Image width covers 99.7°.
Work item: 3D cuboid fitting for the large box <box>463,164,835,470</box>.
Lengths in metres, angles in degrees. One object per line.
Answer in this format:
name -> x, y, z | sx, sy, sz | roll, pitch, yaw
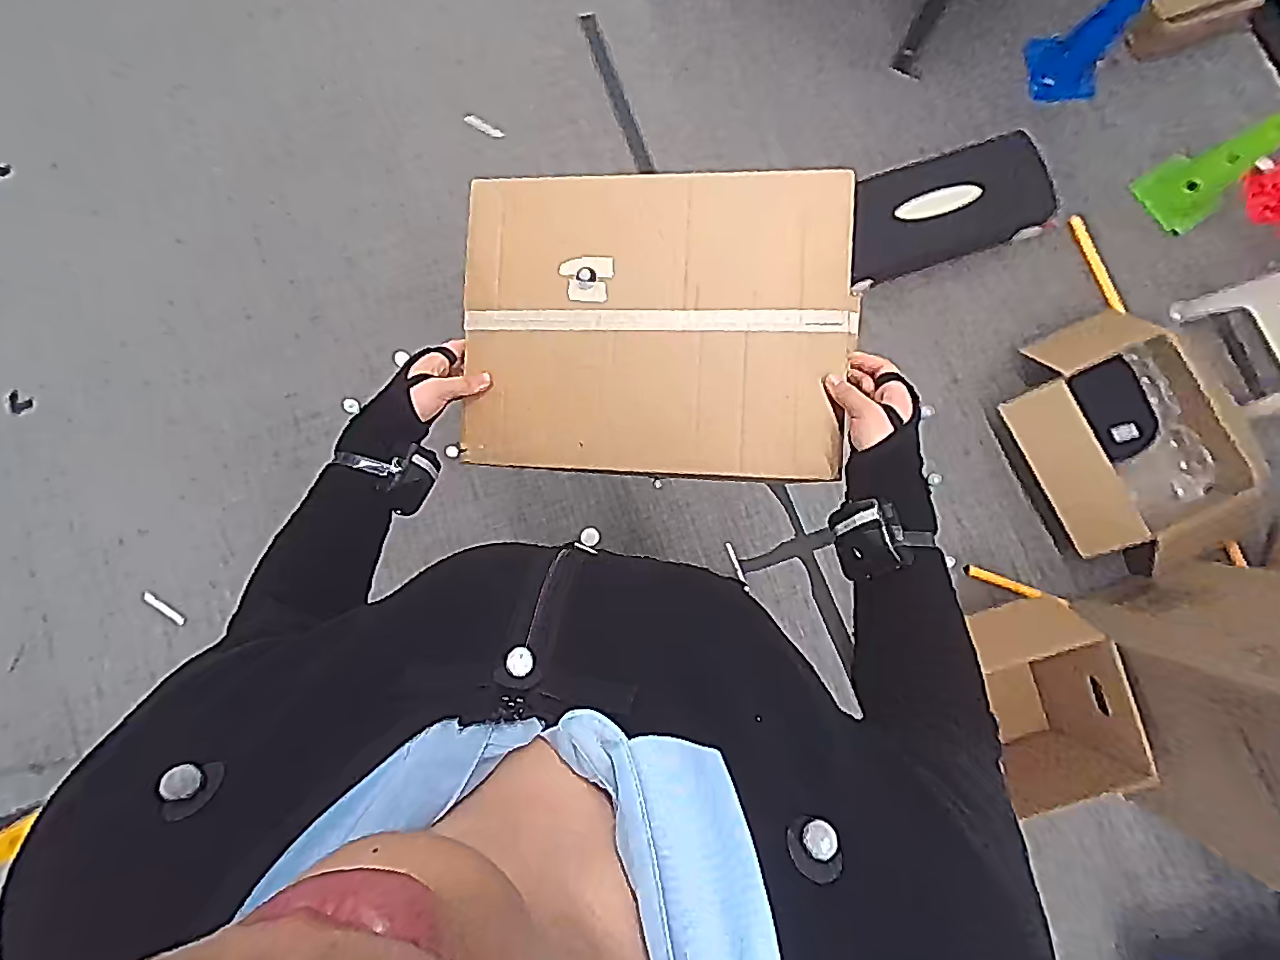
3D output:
large box -> 0.024, -0.170, 0.722 | 0.408, 0.320, 0.320 | 2, 89, 9
